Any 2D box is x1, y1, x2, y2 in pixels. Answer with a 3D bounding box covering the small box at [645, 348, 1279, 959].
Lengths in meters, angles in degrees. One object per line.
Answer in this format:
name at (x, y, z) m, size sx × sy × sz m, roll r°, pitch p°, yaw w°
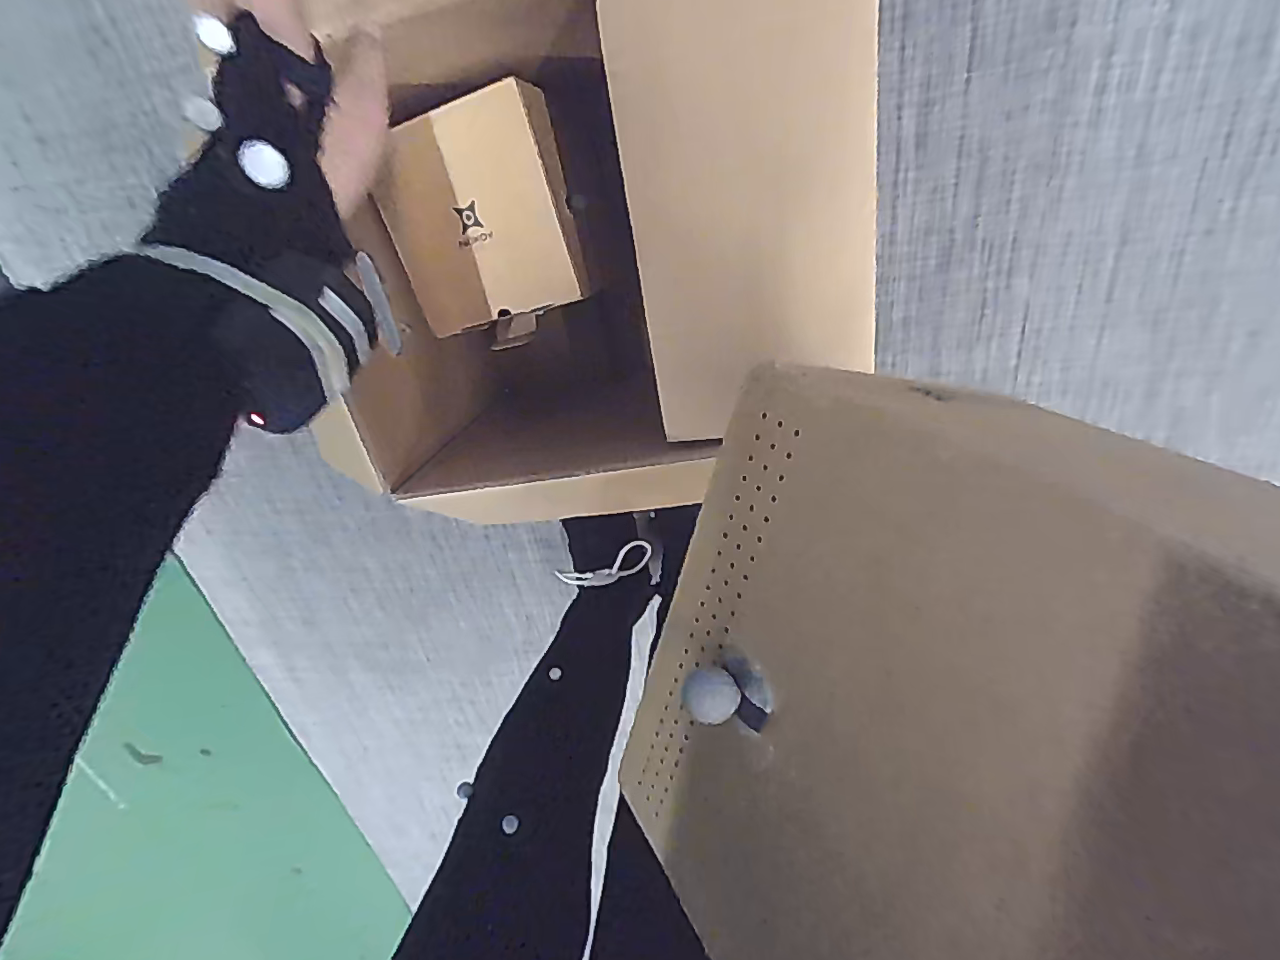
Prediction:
small box at (0.120, 0.074, 0.172) m, size 0.168 × 0.176 × 0.179 m, roll -1°, pitch 117°, yaw -32°
